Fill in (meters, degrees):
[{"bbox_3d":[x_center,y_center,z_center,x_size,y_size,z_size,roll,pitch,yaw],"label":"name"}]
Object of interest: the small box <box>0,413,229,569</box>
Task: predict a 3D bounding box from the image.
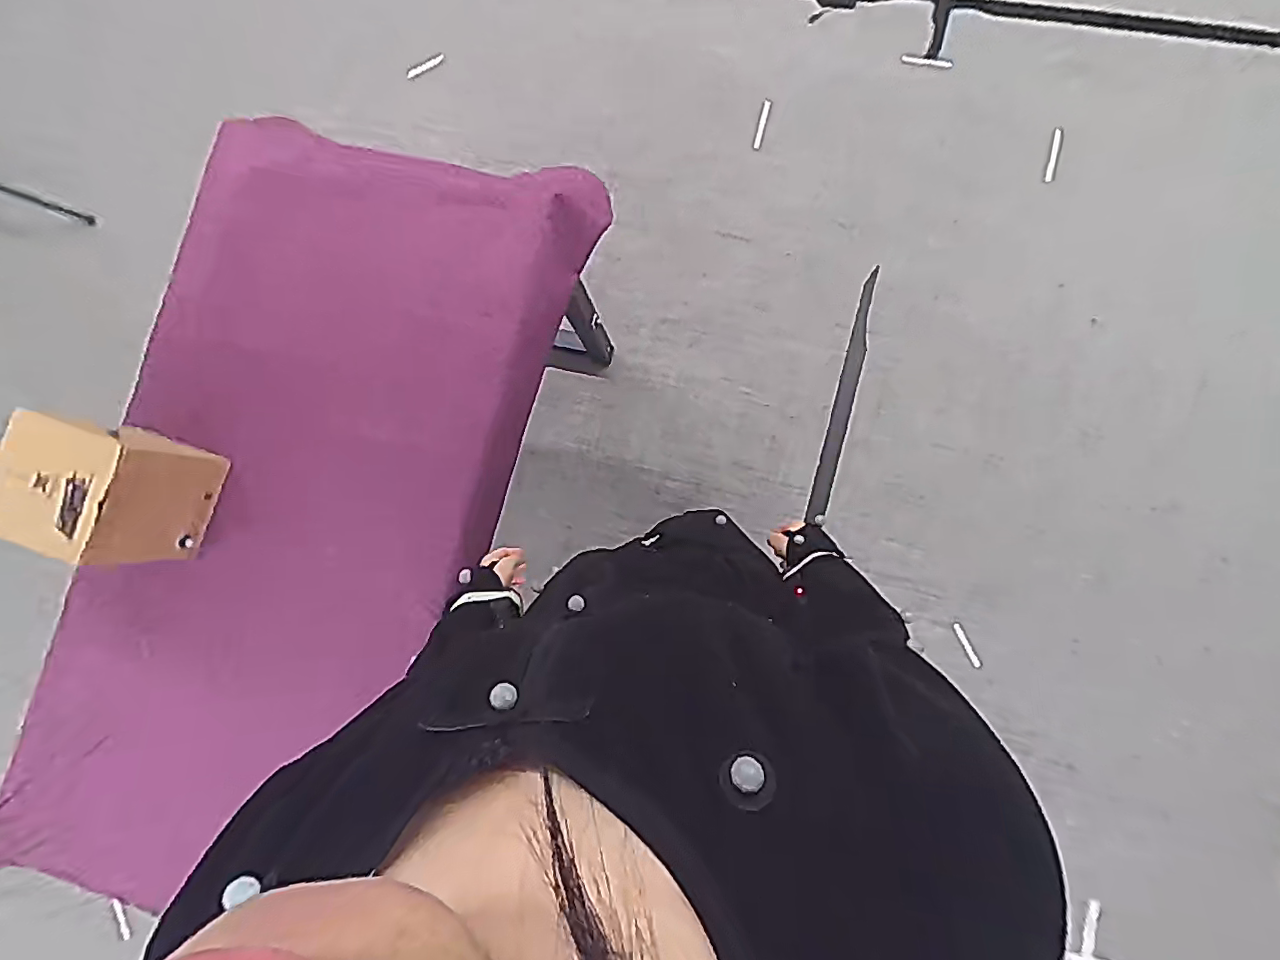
[{"bbox_3d":[-0.757,0.019,0.784,0.179,0.176,0.168,18,86,7],"label":"small box"}]
